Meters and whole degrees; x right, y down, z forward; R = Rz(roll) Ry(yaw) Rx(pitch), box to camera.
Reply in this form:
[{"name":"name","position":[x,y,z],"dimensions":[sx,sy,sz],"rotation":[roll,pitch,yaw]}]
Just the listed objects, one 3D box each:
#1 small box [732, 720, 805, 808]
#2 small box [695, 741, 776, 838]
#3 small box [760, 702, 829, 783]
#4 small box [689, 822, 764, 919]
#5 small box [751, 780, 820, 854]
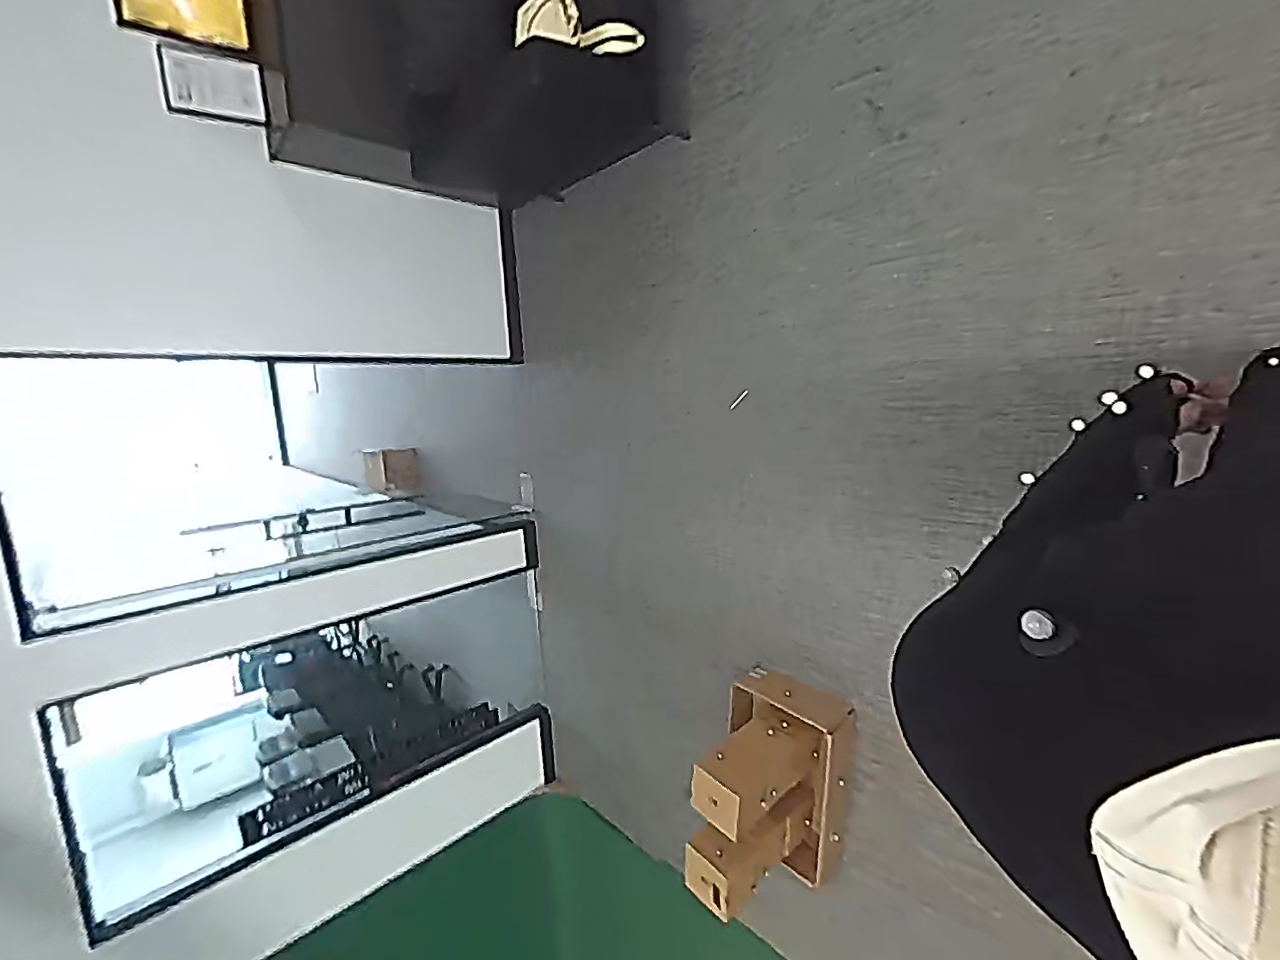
[{"name":"small box","position":[0.417,0.924,1.787],"dimensions":[0.179,0.176,0.168],"rotation":[17,110,46]},{"name":"small box","position":[0.296,0.947,1.679],"dimensions":[0.179,0.176,0.168],"rotation":[17,111,45]},{"name":"small box","position":[0.536,0.909,1.898],"dimensions":[0.179,0.176,0.168],"rotation":[15,109,46]},{"name":"small box","position":[0.282,1.243,1.752],"dimensions":[0.179,0.176,0.168],"rotation":[15,108,48]},{"name":"small box","position":[0.527,1.192,1.965],"dimensions":[0.179,0.176,0.168],"rotation":[15,108,46]}]
